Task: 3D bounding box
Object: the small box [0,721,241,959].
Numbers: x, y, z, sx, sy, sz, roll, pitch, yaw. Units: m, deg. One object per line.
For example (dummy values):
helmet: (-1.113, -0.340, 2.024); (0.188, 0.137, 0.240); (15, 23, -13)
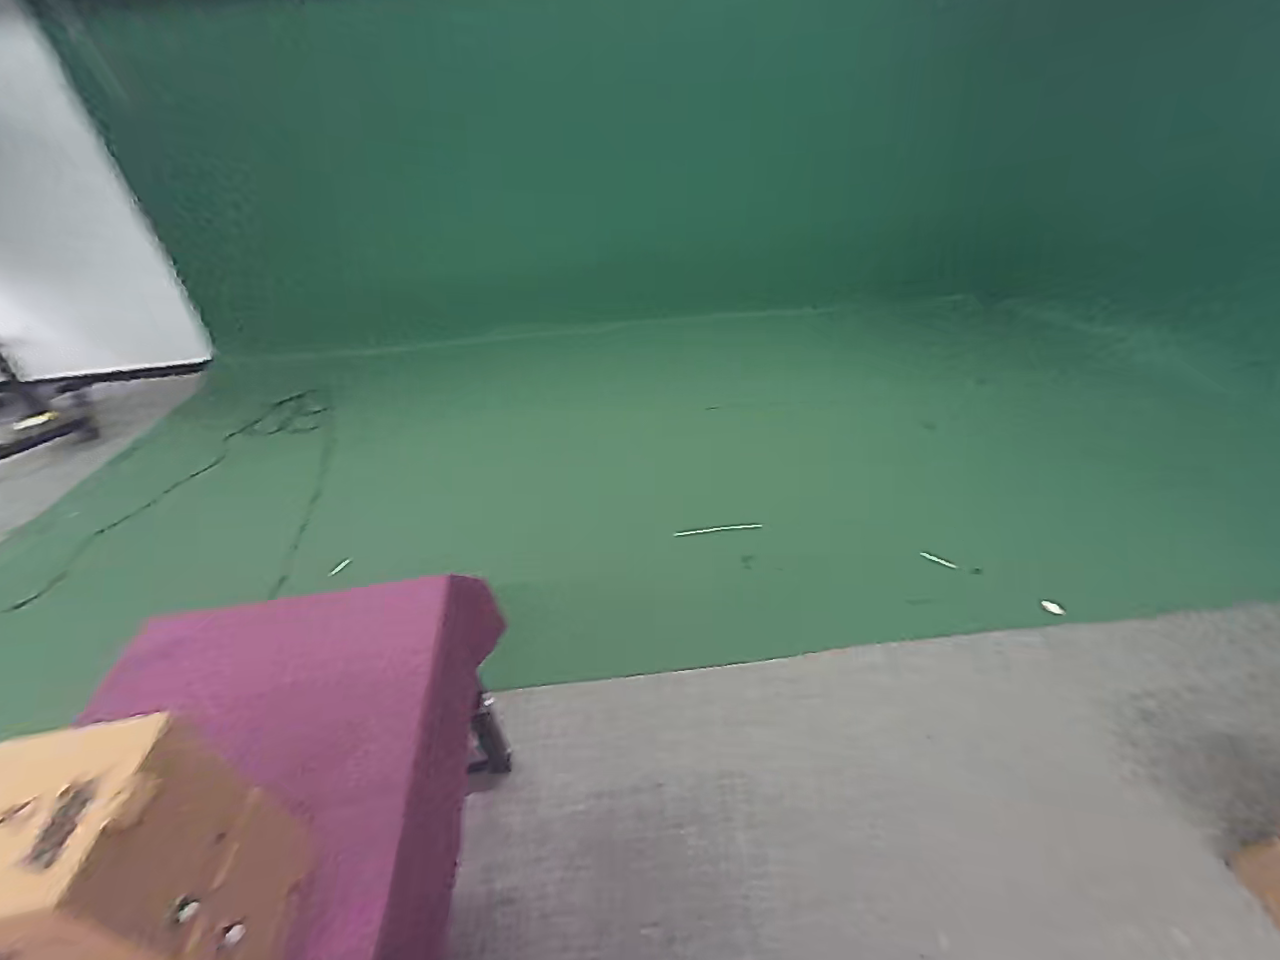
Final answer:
small box: (-0.540, 0.366, 0.521); (0.179, 0.176, 0.168); (-10, 36, -4)
